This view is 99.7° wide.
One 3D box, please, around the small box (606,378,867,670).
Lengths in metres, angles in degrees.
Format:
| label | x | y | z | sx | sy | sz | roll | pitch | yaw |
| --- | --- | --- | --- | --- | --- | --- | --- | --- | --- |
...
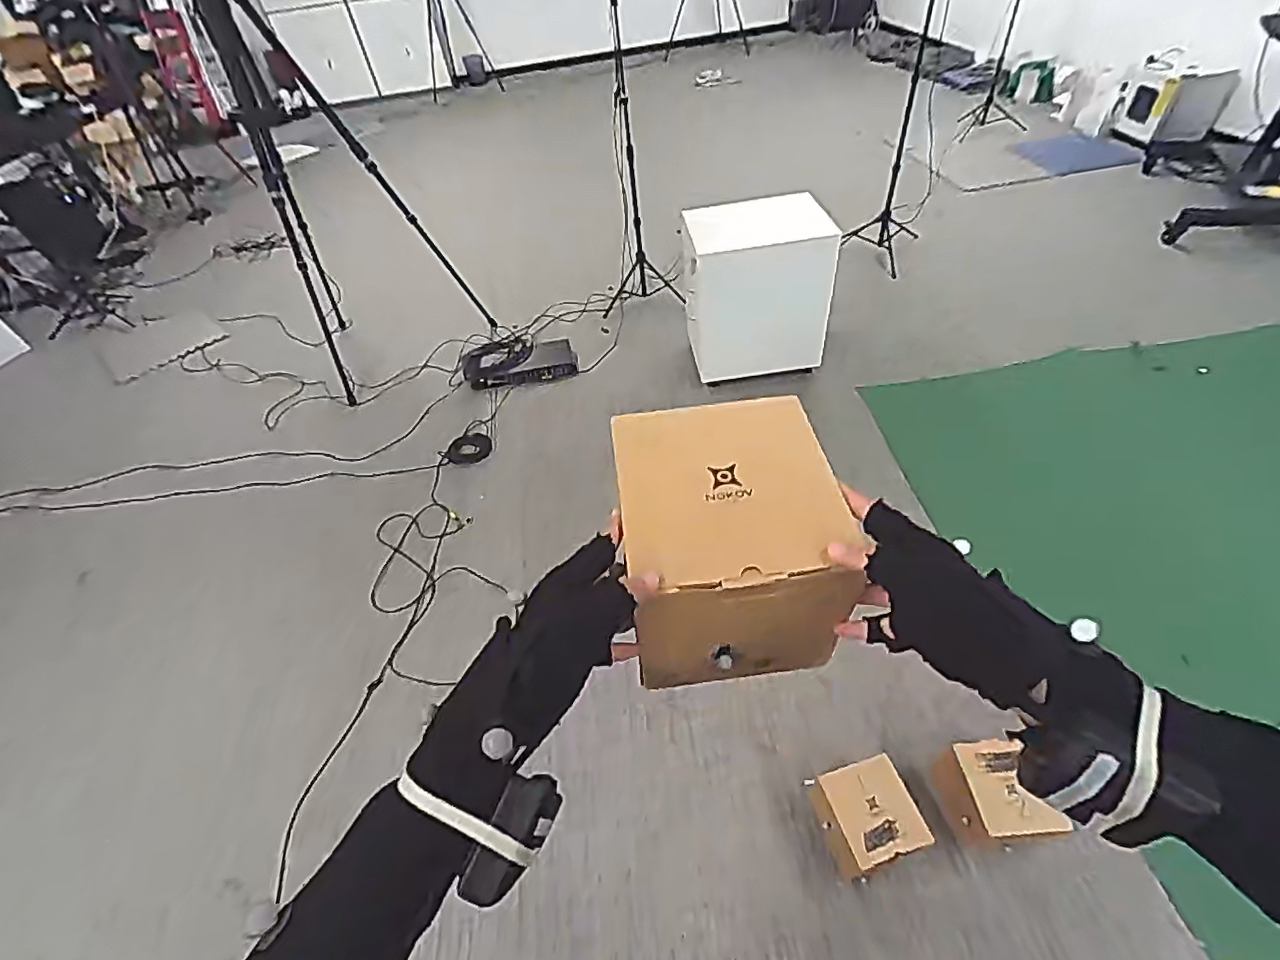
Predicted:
| label | x | y | z | sx | sy | sz | roll | pitch | yaw |
| --- | --- | --- | --- | --- | --- | --- | --- | --- | --- |
| small box | 0.066 | 0.039 | 0.470 | 0.168 | 0.176 | 0.179 | -9 | 49 | -1 |

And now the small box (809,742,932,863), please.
| label | x | y | z | sx | sy | sz | roll | pitch | yaw |
| --- | --- | --- | --- | --- | --- | --- | --- | --- | --- |
| small box | 0.488 | 0.705 | 1.174 | 0.168 | 0.176 | 0.179 | -16 | 48 | -6 |
